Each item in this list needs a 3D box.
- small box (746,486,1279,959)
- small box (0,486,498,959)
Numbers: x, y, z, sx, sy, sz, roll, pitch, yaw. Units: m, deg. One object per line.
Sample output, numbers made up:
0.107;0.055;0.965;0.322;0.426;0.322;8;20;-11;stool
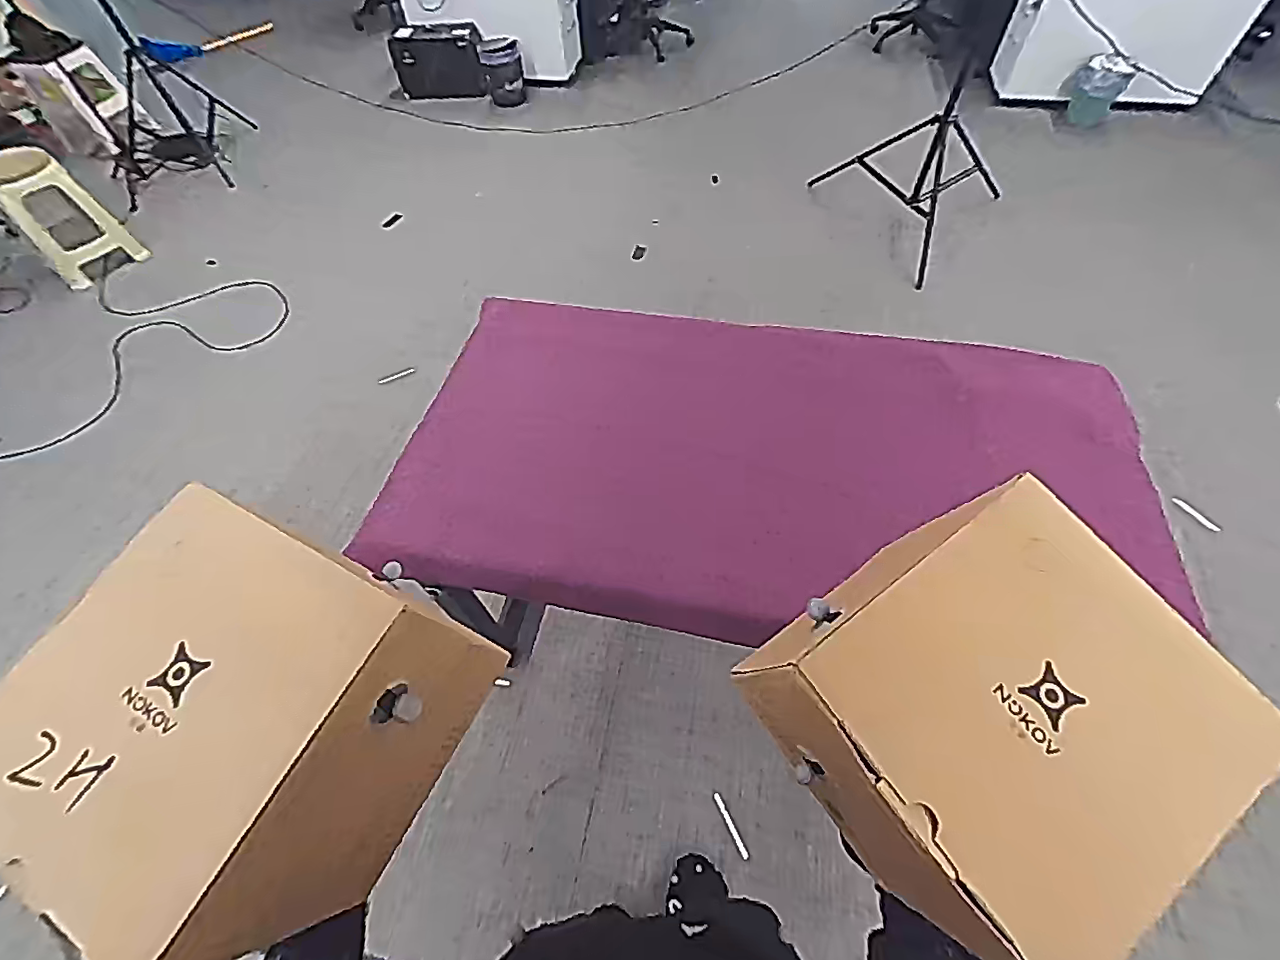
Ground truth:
0.191;0.136;0.334;0.179;0.176;0.168;-34;74;-13;small box
-0.211;0.138;0.335;0.168;0.176;0.179;23;69;17;small box
